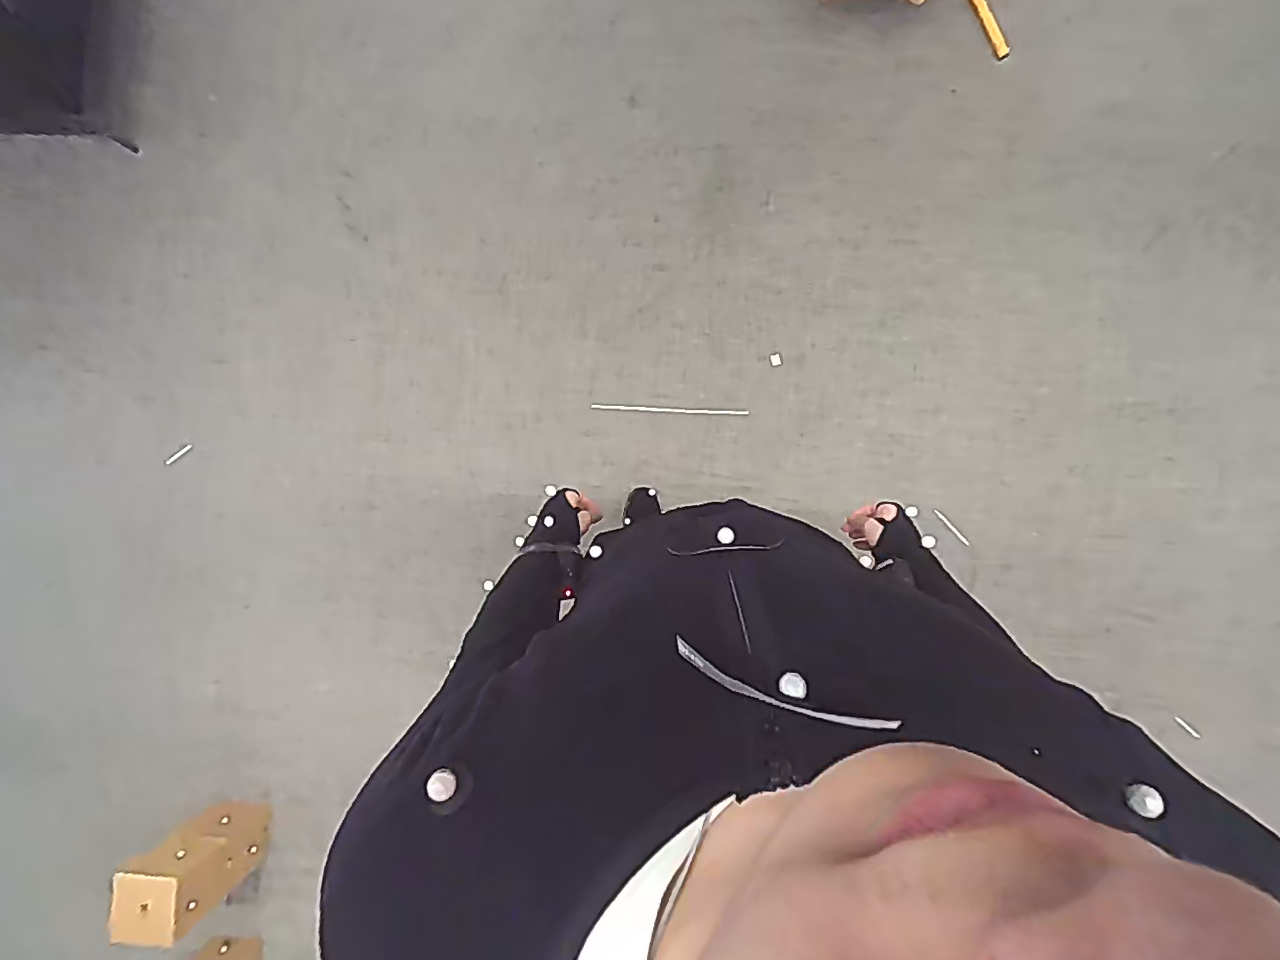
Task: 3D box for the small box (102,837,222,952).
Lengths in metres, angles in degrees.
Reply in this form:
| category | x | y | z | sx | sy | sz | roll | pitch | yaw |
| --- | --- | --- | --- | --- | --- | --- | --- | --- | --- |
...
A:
| category | x | y | z | sx | sy | sz | roll | pitch | yaw |
| --- | --- | --- | --- | --- | --- | --- | --- | --- | --- |
| small box | -1.241 | 1.075 | 1.416 | 0.168 | 0.176 | 0.179 | 3 | 89 | 2 |

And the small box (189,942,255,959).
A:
| category | x | y | z | sx | sy | sz | roll | pitch | yaw |
| --- | --- | --- | --- | --- | --- | --- | --- | --- | --- |
| small box | -1.257 | 1.501 | 1.564 | 0.168 | 0.176 | 0.179 | 3 | 88 | 2 |

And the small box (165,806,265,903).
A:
| category | x | y | z | sx | sy | sz | roll | pitch | yaw |
| --- | --- | --- | --- | --- | --- | --- | --- | --- | --- |
| small box | -1.241 | 1.084 | 1.578 | 0.179 | 0.176 | 0.168 | 5 | 87 | 2 |
